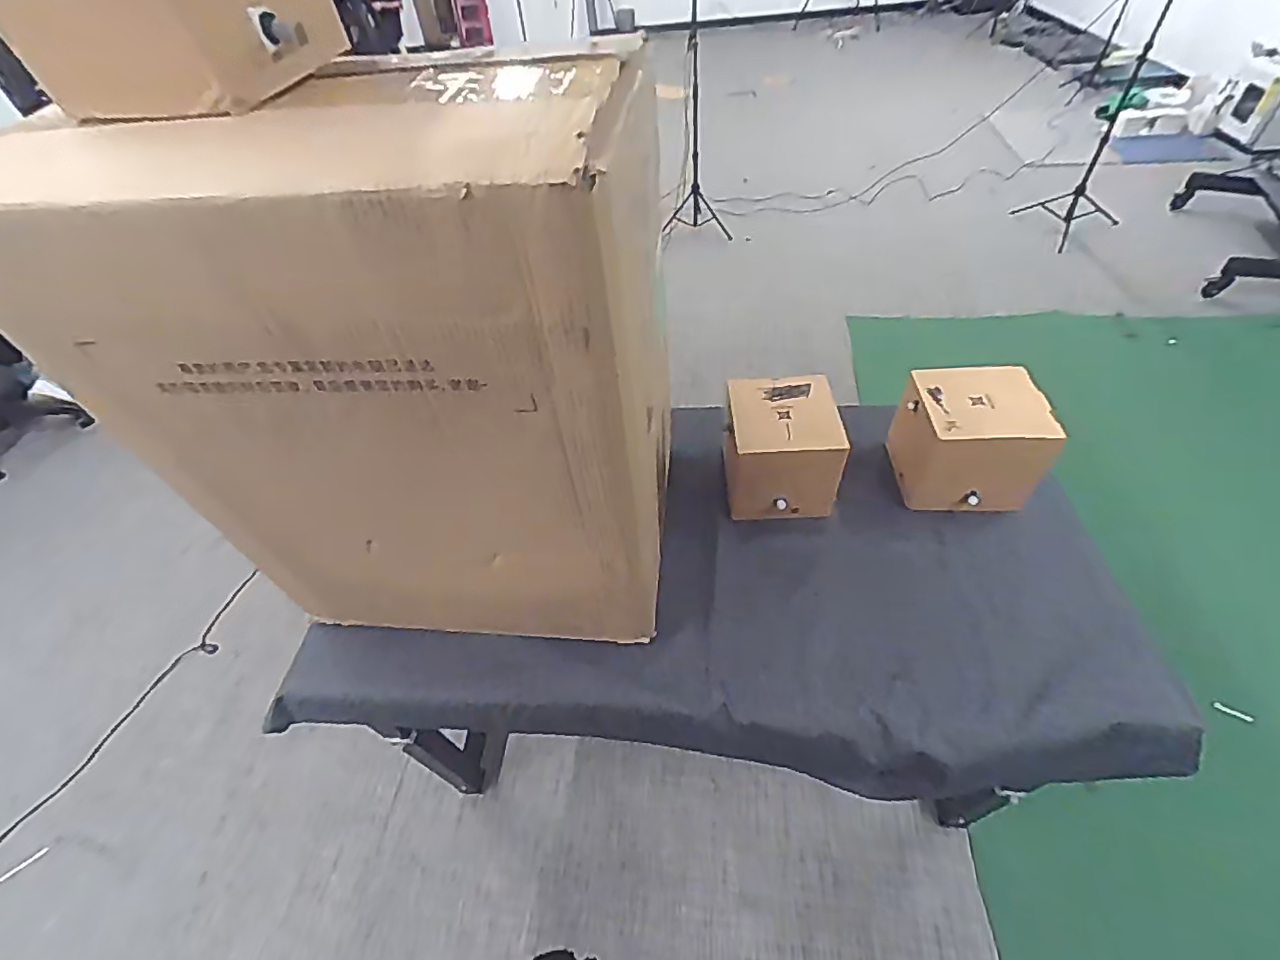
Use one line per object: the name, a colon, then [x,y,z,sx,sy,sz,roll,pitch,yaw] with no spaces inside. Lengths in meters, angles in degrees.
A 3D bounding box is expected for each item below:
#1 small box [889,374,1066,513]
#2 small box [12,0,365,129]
small box: [0.539,-0.058,0.895,0.179,0.176,0.168,0,48,7]
small box: [-0.363,-0.398,0.423,0.179,0.176,0.168,7,55,10]
